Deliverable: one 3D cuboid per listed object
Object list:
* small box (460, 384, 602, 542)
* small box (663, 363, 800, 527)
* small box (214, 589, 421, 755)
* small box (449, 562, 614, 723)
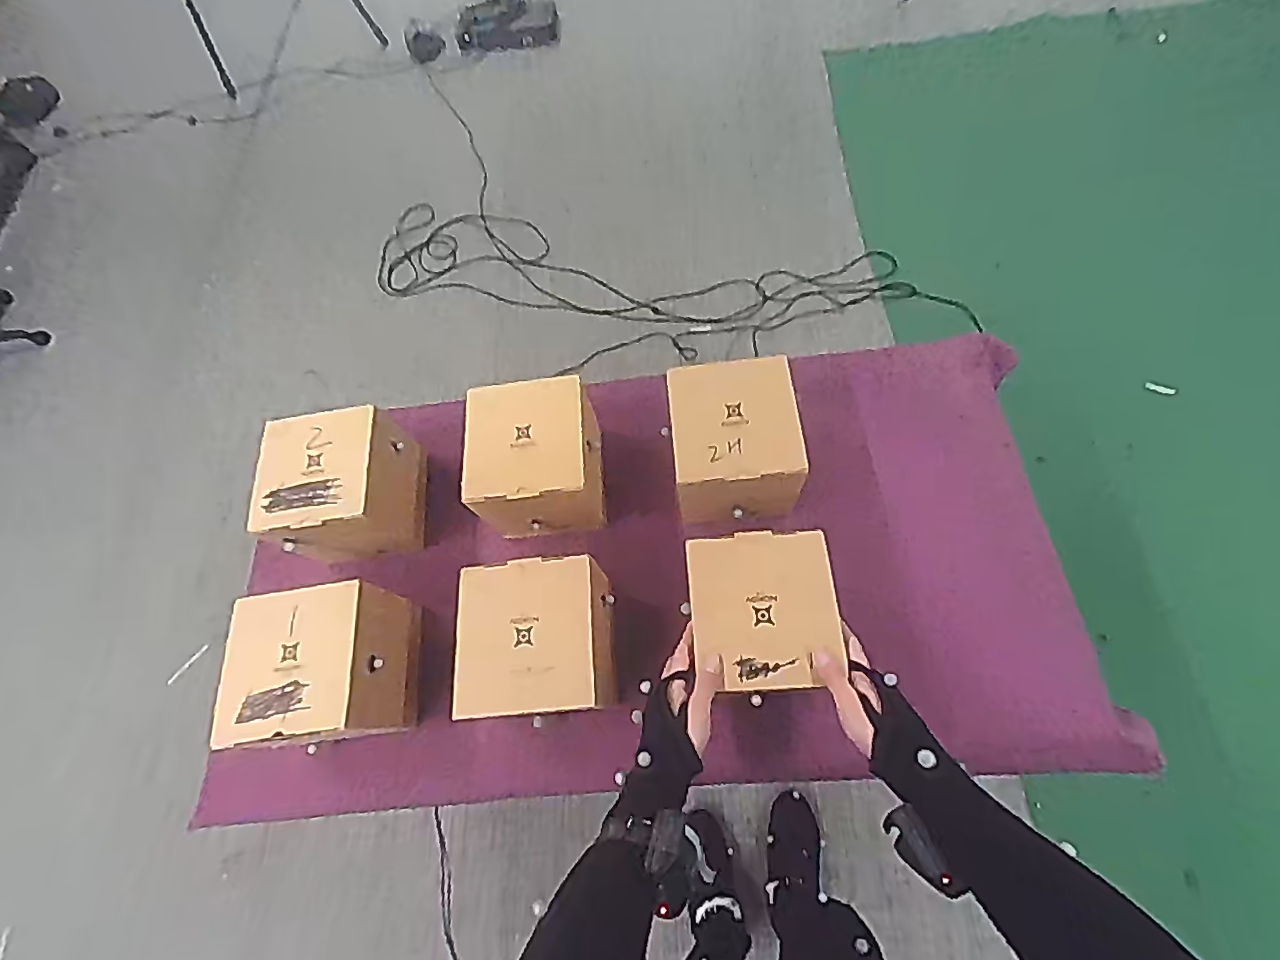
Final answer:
[{"bbox_3d":[-0.154,-0.018,0.814,0.168,0.176,0.179,-7,68,5],"label":"small box"},{"bbox_3d":[0.125,-0.044,0.784,0.168,0.176,0.179,-6,68,6],"label":"small box"},{"bbox_3d":[-0.414,0.260,0.729,0.168,0.176,0.179,-10,64,4],"label":"small box"},{"bbox_3d":[-0.131,0.219,0.711,0.168,0.176,0.179,-7,67,6],"label":"small box"}]
